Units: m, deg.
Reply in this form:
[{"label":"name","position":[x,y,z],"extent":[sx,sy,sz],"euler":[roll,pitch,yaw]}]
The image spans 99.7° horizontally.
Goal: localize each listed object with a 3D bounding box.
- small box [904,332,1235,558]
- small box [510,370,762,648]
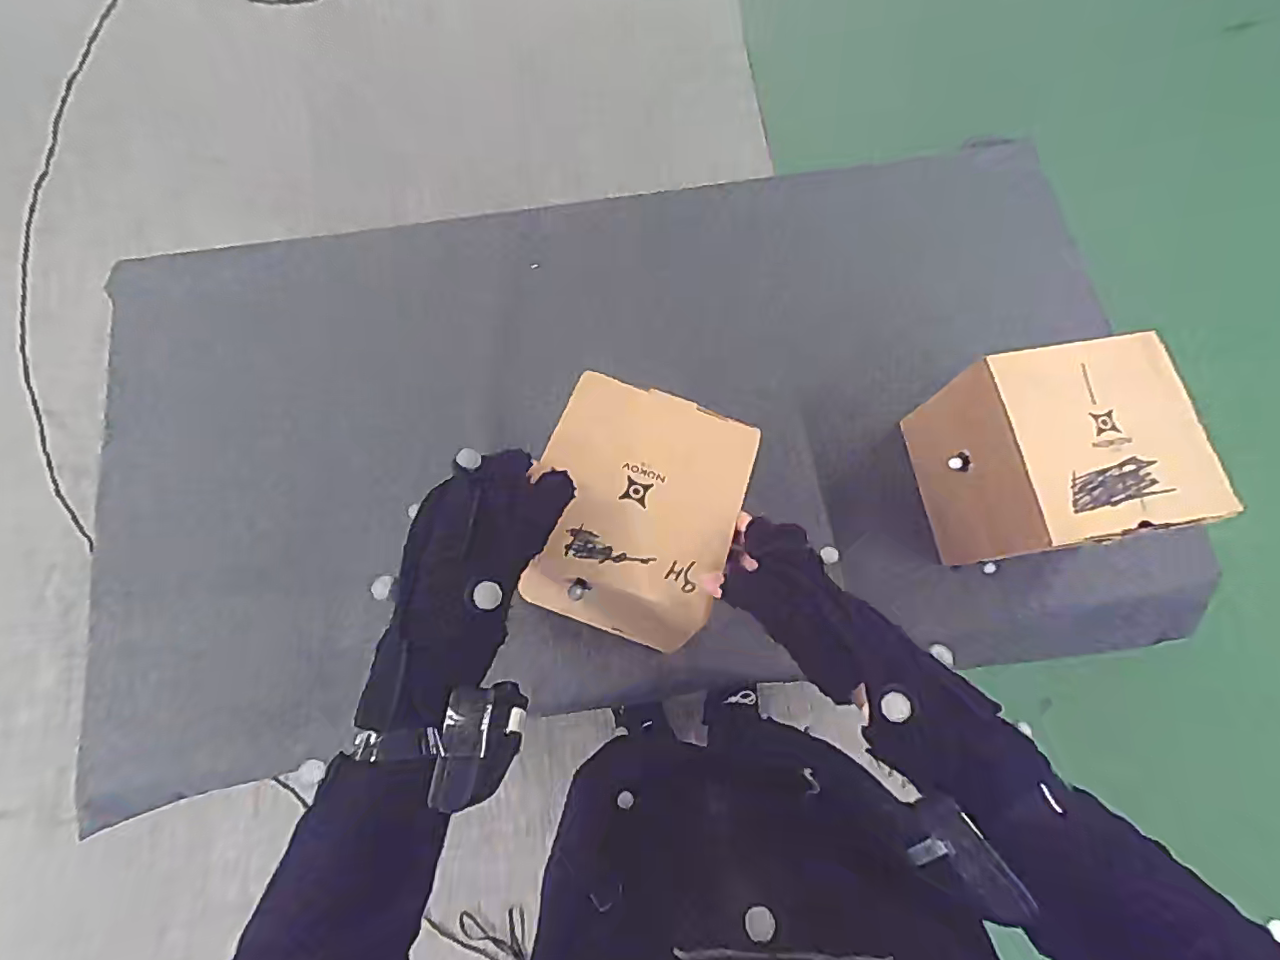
[{"label":"small box","position":[0.400,-0.021,0.543],"extent":[0.168,0.176,0.179],"euler":[-8,75,-3]},{"label":"small box","position":[-0.005,0.036,0.503],"extent":[0.168,0.176,0.179],"euler":[18,63,3]}]
